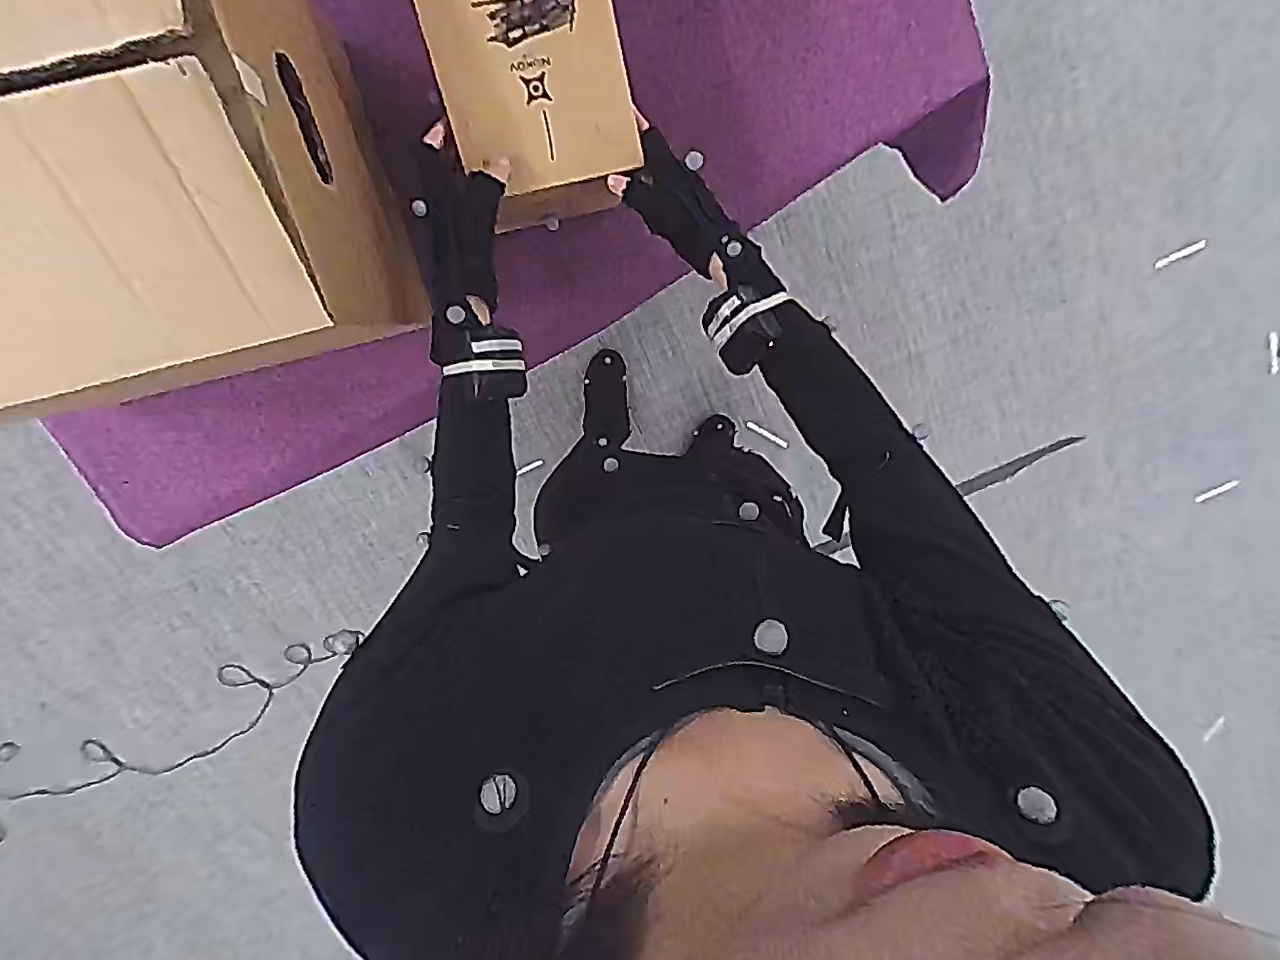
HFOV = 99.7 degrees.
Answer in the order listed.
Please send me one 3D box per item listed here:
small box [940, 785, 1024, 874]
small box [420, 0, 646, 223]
[{"bbox_3d":[1.220,1.255,1.947,0.179,0.176,0.168,-36,108,3],"label":"small box"},{"bbox_3d":[-0.106,-0.377,0.537,0.168,0.176,0.179,-16,108,-8],"label":"small box"}]
